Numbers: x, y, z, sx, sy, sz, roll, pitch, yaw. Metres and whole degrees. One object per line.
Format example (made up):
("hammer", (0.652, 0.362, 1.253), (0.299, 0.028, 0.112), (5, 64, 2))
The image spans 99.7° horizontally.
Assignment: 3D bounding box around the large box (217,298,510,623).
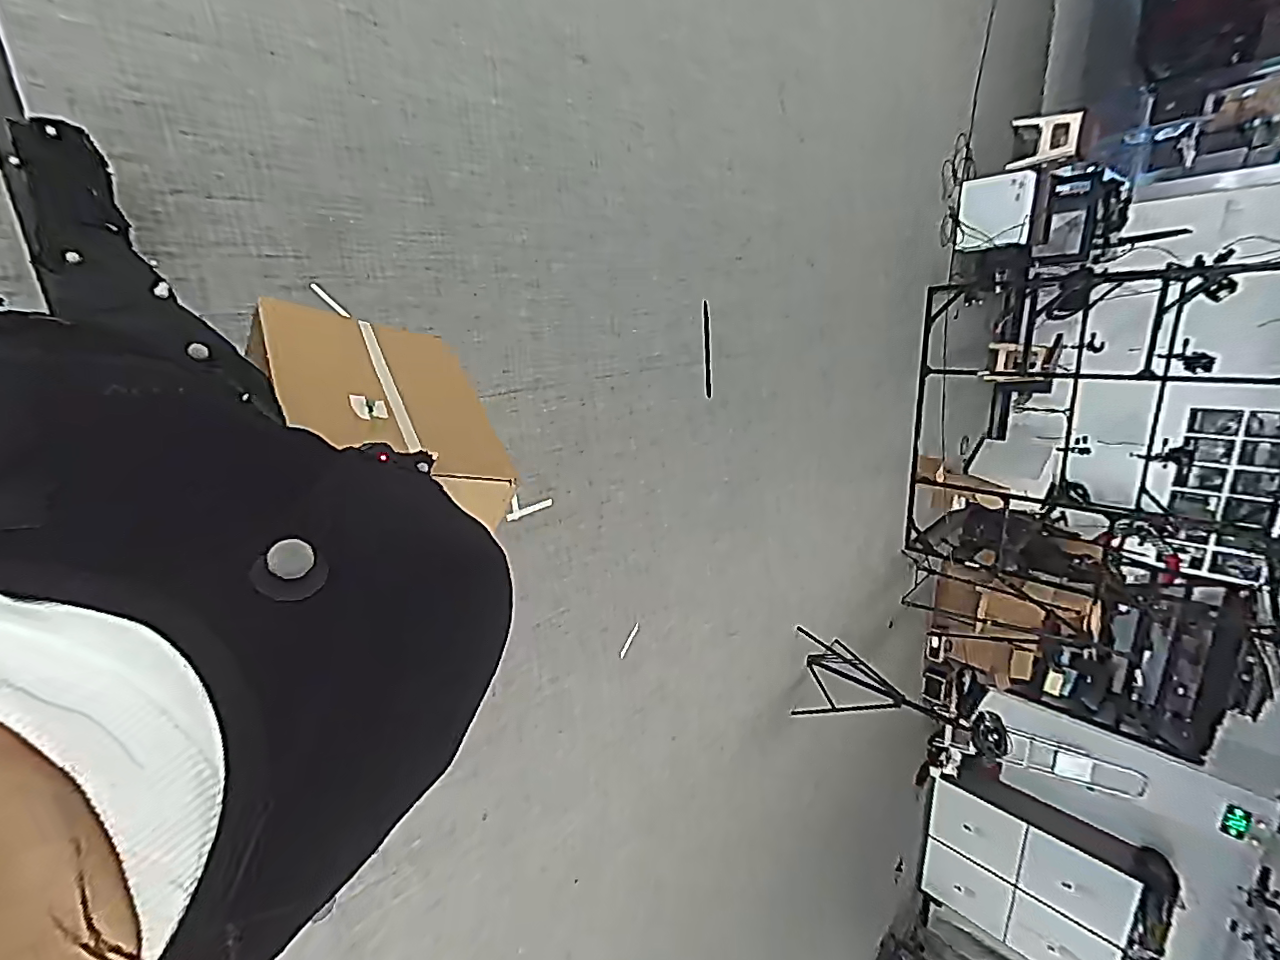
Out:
("large box", (-0.481, -0.030, 0.905), (0.320, 0.408, 0.320), (4, 132, -44))
